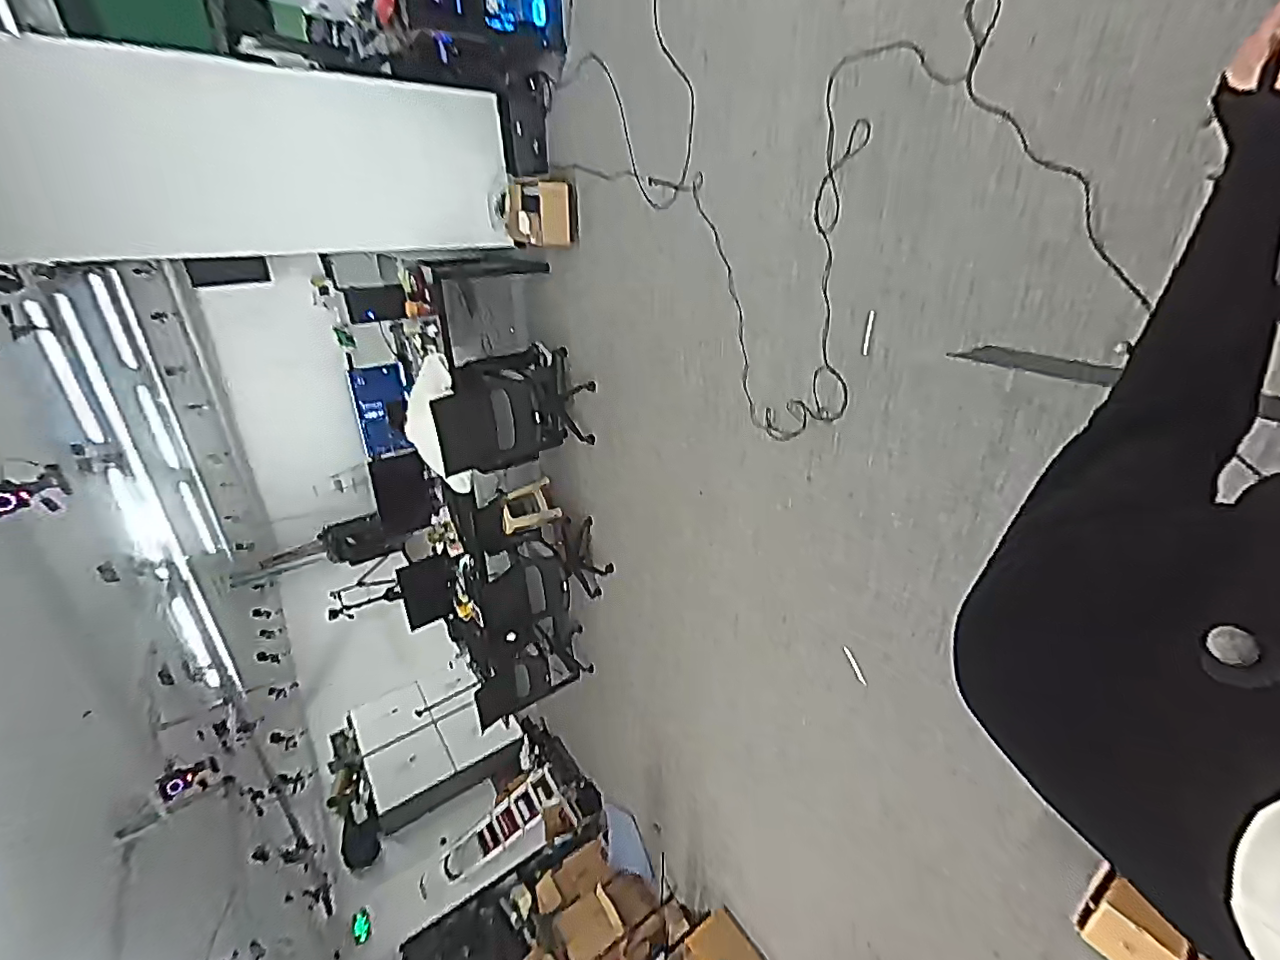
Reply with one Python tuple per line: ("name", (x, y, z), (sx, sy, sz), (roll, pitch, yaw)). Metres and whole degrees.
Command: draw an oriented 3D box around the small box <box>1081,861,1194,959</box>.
("small box", (1.351, 1.198, 1.467), (0.168, 0.176, 0.179), (30, 127, 46))
